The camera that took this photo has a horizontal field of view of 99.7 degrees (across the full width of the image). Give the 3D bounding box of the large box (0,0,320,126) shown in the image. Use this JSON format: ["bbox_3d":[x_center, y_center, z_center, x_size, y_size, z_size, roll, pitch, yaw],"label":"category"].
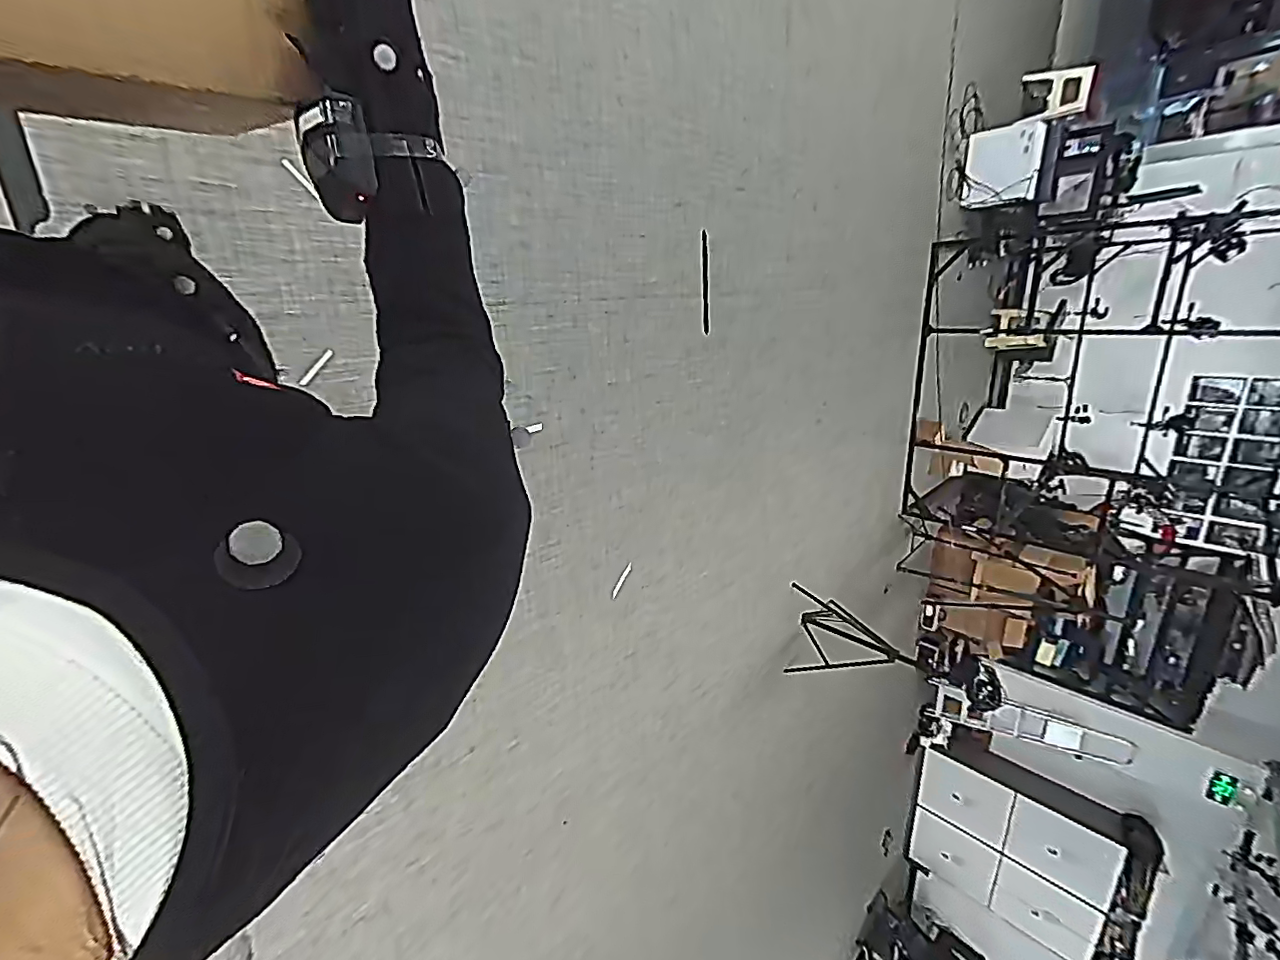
[{"bbox_3d":[-0.458,-0.394,0.273,0.408,0.320,0.320,-21,126,-40],"label":"large box"}]
